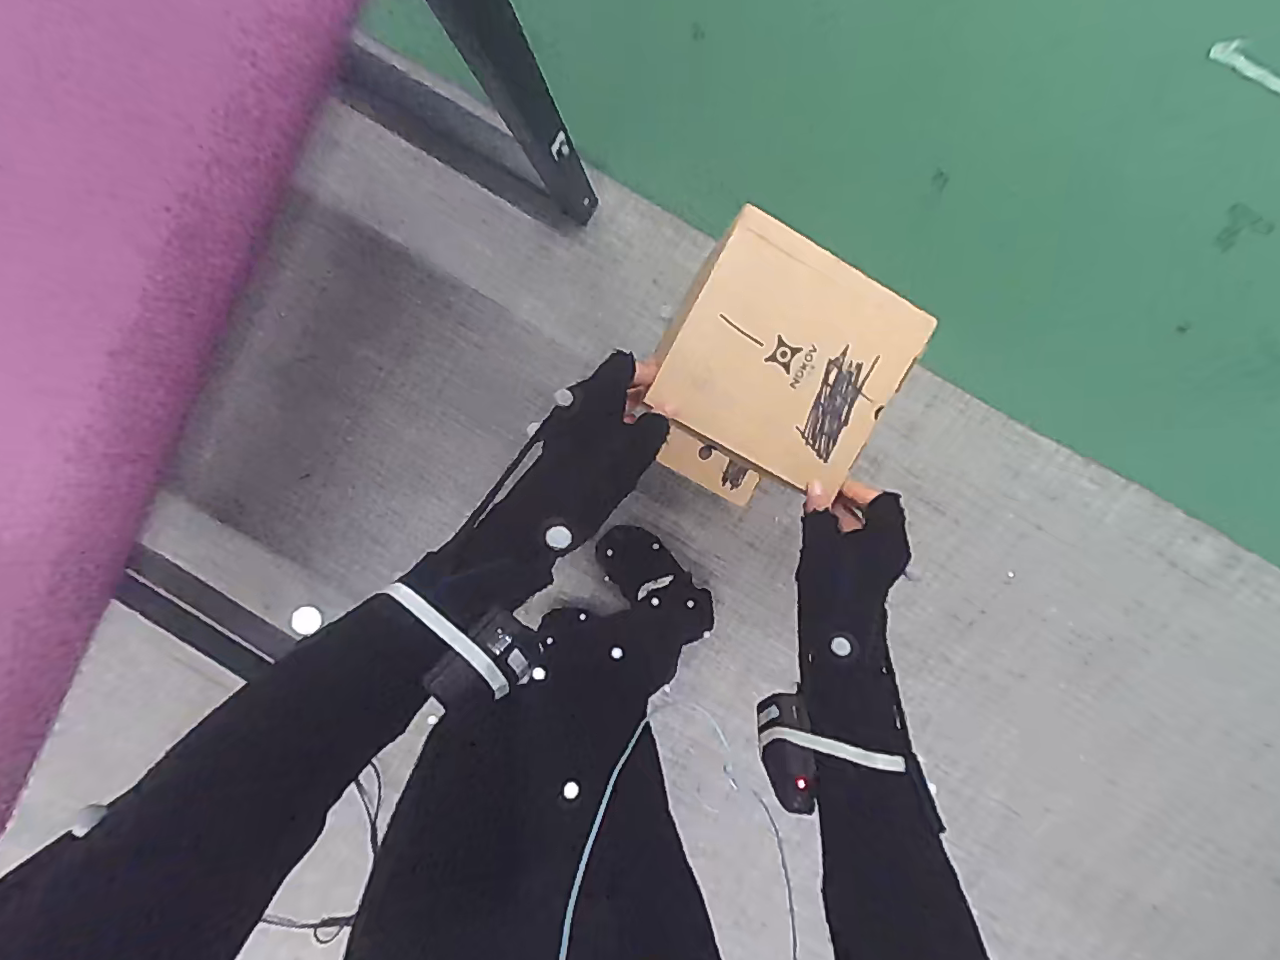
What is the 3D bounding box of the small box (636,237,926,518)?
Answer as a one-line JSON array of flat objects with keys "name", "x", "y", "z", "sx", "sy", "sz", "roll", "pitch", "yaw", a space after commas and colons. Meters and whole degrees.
[{"name": "small box", "x": 0.113, "y": -0.090, "z": 0.511, "sx": 0.179, "sy": 0.176, "sz": 0.168, "roll": 30, "pitch": 95, "yaw": -9}]
